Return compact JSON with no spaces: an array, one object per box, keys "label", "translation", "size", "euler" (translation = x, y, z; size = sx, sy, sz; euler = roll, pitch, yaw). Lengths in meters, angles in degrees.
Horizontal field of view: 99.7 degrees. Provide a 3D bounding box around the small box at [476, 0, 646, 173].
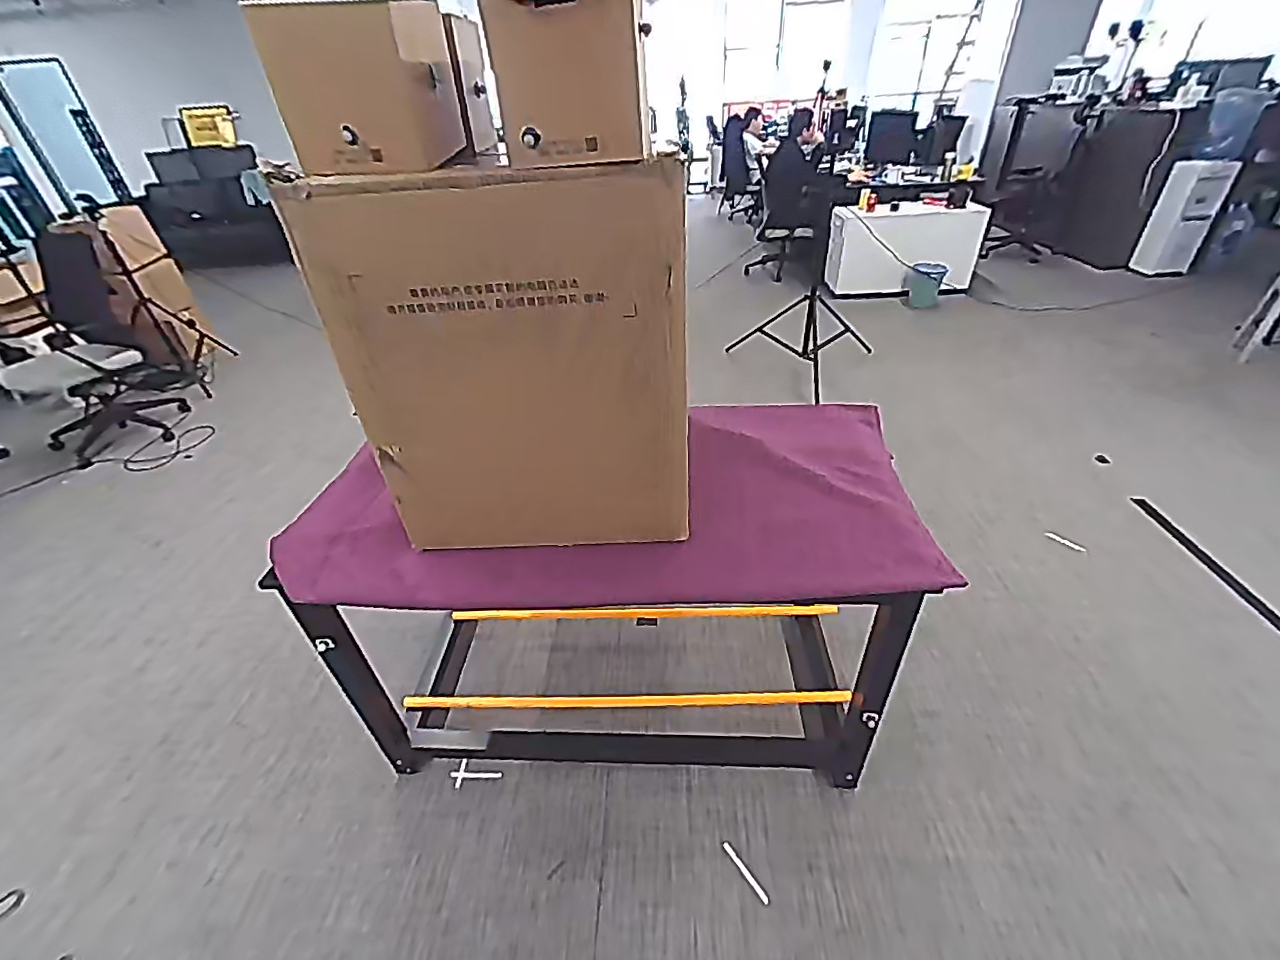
[{"label":"small box","translation":[-0.080,-0.485,0.665],"size":[0.168,0.176,0.179],"euler":[-2,37,4]}]
